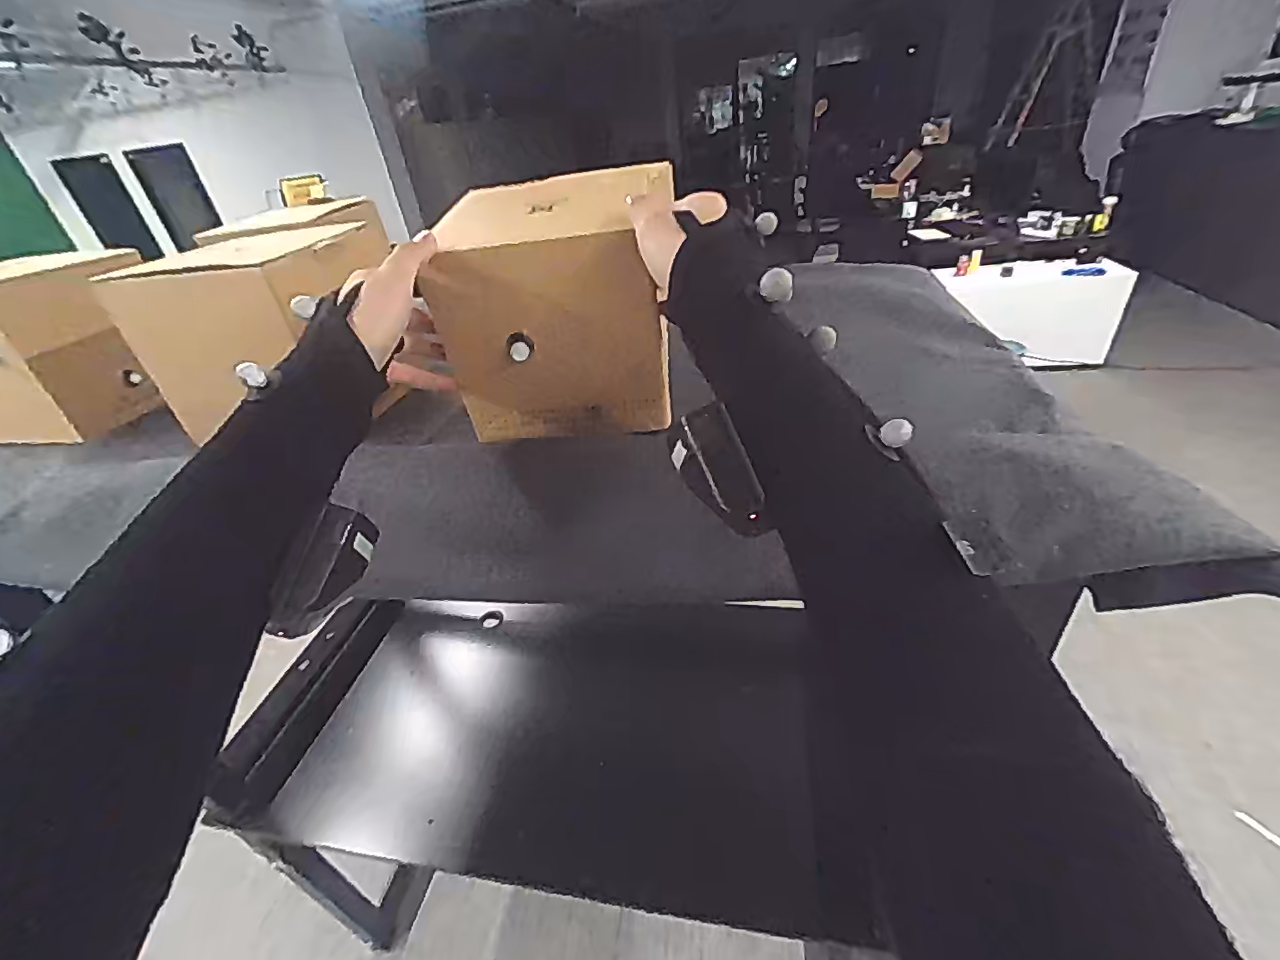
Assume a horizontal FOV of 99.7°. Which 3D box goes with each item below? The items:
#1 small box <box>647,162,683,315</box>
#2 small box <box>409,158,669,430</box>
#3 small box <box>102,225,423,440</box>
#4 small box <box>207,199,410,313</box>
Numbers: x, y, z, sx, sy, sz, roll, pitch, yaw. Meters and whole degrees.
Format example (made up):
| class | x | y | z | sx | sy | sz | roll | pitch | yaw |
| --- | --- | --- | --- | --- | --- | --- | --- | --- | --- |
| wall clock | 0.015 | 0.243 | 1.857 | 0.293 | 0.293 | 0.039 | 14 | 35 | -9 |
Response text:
| class | x | y | z | sx | sy | sz | roll | pitch | yaw |
| --- | --- | --- | --- | --- | --- | --- | --- | --- | --- |
| small box | -0.043 | -0.316 | 0.729 | 0.179 | 0.176 | 0.168 | 1 | 36 | 13 |
| small box | -0.064 | -0.155 | 0.471 | 0.168 | 0.176 | 0.179 | -5 | 41 | 6 |
| small box | -0.355 | -0.150 | 0.553 | 0.179 | 0.176 | 0.168 | 1 | 34 | 11 |
| small box | -0.469 | -0.306 | 0.804 | 0.168 | 0.176 | 0.179 | -4 | 34 | 8 |
